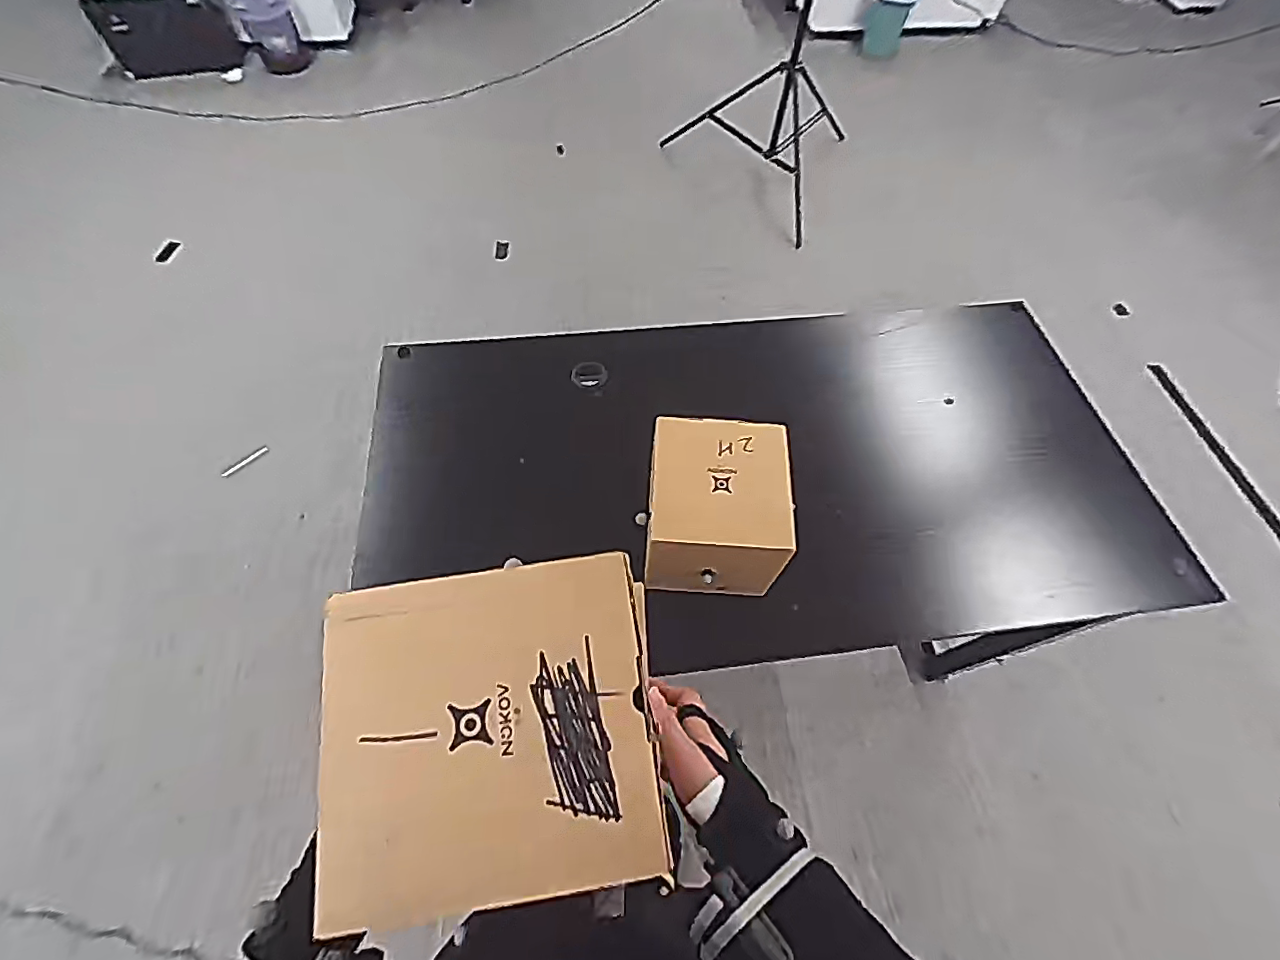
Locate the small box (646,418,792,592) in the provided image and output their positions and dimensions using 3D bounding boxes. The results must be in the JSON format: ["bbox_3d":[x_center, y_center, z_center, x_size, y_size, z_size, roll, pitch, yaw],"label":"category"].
[{"bbox_3d":[0.096,0.040,0.723,0.168,0.176,0.179,4,60,0],"label":"small box"}]
